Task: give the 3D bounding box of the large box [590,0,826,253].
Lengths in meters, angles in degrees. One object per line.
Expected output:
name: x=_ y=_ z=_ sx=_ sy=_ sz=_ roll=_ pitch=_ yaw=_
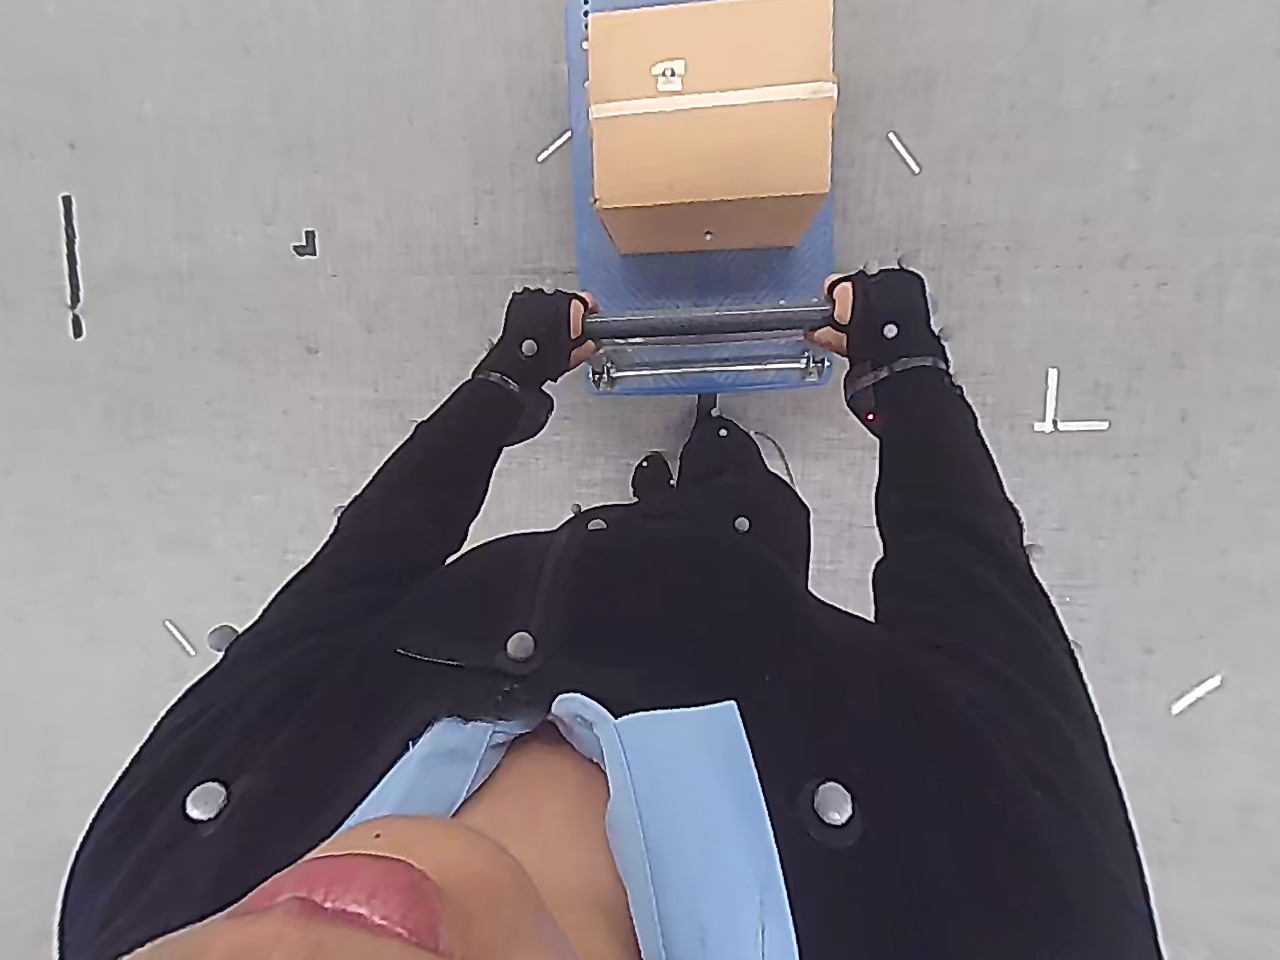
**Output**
large box: x=0.135 y=-0.664 z=1.079 sx=0.408 sy=0.320 sz=0.320 roll=-1 pitch=97 yaw=7
